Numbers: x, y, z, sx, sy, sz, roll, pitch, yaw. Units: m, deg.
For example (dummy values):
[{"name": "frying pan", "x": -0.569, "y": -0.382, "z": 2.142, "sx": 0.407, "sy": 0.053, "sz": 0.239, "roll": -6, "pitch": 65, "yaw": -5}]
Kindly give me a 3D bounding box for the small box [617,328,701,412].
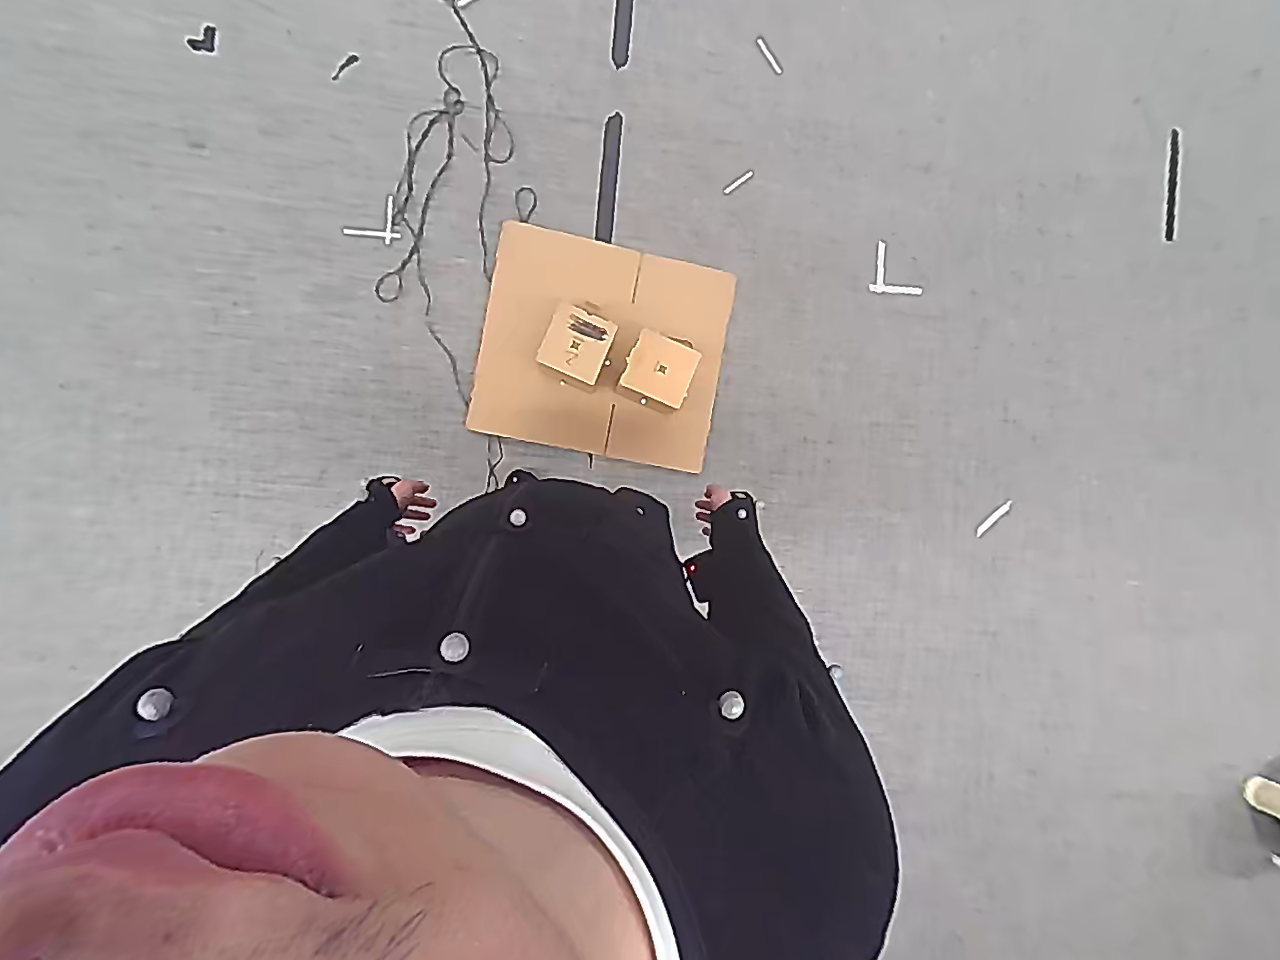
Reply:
[{"name": "small box", "x": 0.047, "y": -0.302, "z": 1.524, "sx": 0.179, "sy": 0.176, "sz": 0.168, "roll": 23, "pitch": 88, "yaw": -5}]
